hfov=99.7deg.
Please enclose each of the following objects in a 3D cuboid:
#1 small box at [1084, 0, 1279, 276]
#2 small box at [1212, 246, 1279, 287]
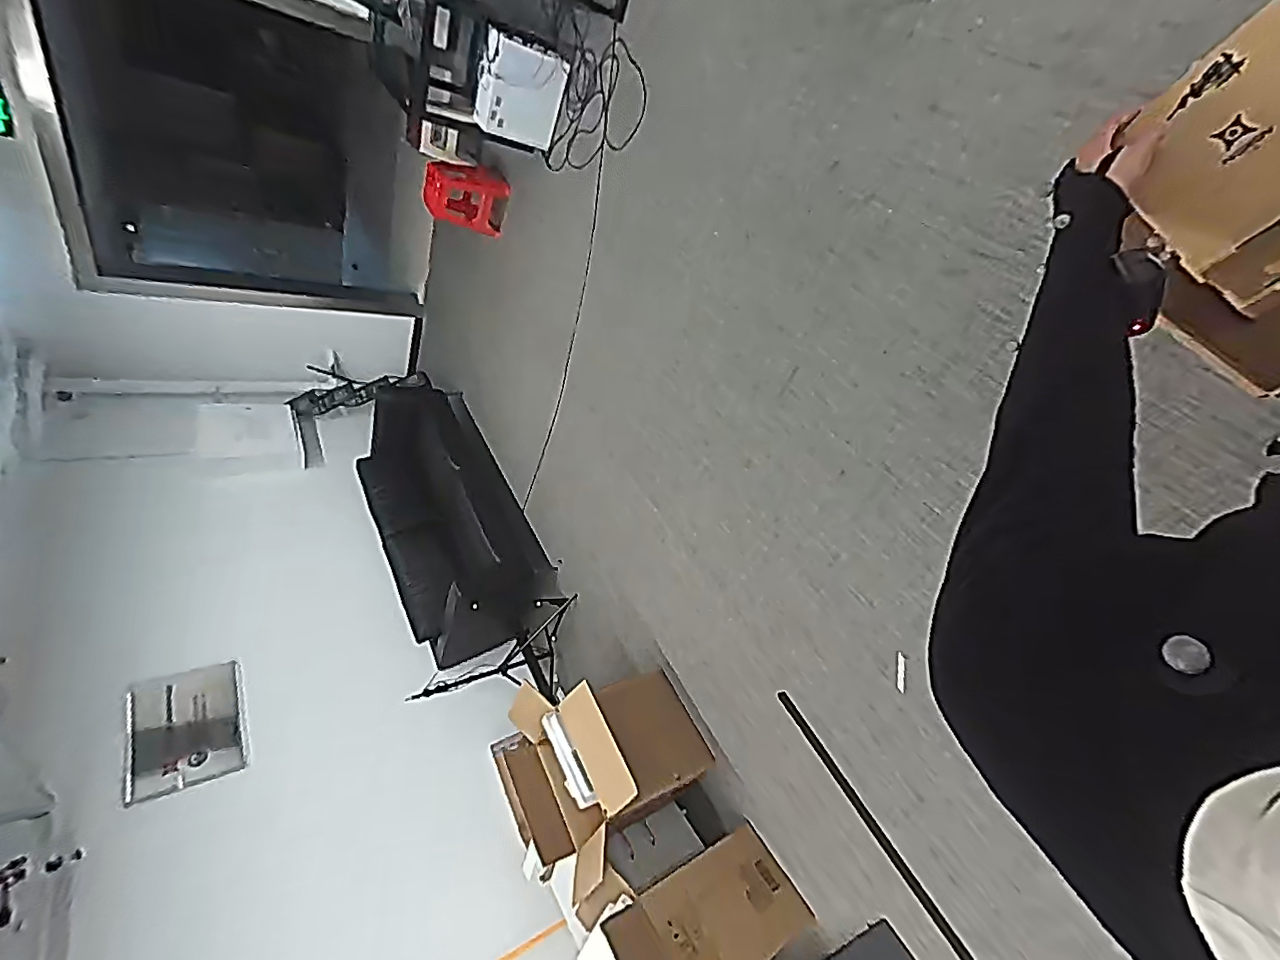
[{"bbox_3d":[0.621,-0.331,0.554,0.168,0.176,0.179,-46,60,47],"label":"small box"},{"bbox_3d":[0.754,-0.354,0.652,0.168,0.176,0.179,-47,57,47],"label":"small box"}]
